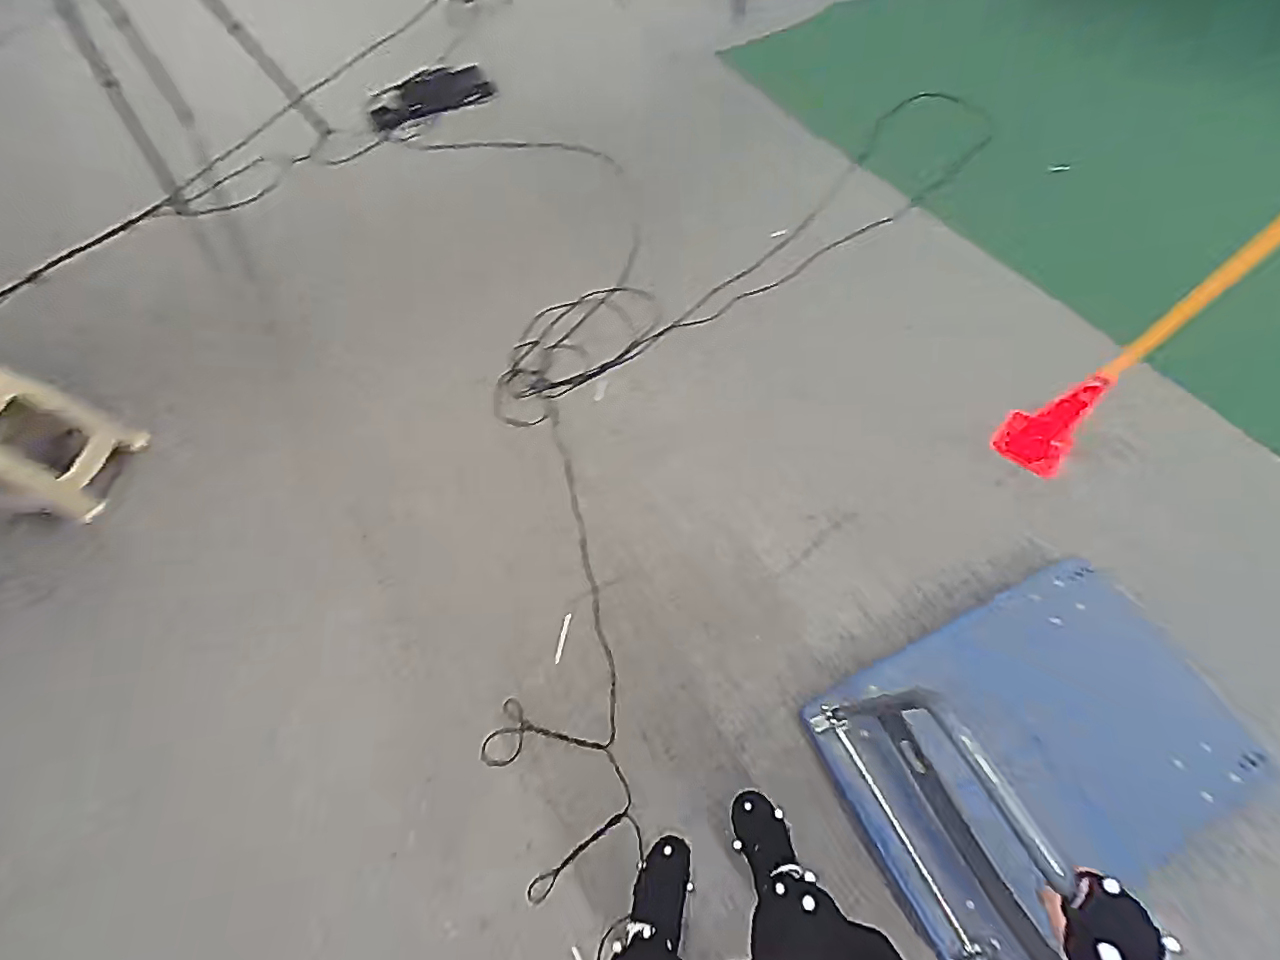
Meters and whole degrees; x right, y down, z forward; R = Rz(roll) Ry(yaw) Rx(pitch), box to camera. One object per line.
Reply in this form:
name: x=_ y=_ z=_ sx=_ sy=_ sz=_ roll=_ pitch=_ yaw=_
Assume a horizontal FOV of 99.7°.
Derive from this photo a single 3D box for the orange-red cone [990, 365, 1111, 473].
orange-red cone: x=1.268 y=-0.215 z=1.622 sx=0.199 sy=0.360 sz=0.198 roll=38 pitch=69 yaw=22
